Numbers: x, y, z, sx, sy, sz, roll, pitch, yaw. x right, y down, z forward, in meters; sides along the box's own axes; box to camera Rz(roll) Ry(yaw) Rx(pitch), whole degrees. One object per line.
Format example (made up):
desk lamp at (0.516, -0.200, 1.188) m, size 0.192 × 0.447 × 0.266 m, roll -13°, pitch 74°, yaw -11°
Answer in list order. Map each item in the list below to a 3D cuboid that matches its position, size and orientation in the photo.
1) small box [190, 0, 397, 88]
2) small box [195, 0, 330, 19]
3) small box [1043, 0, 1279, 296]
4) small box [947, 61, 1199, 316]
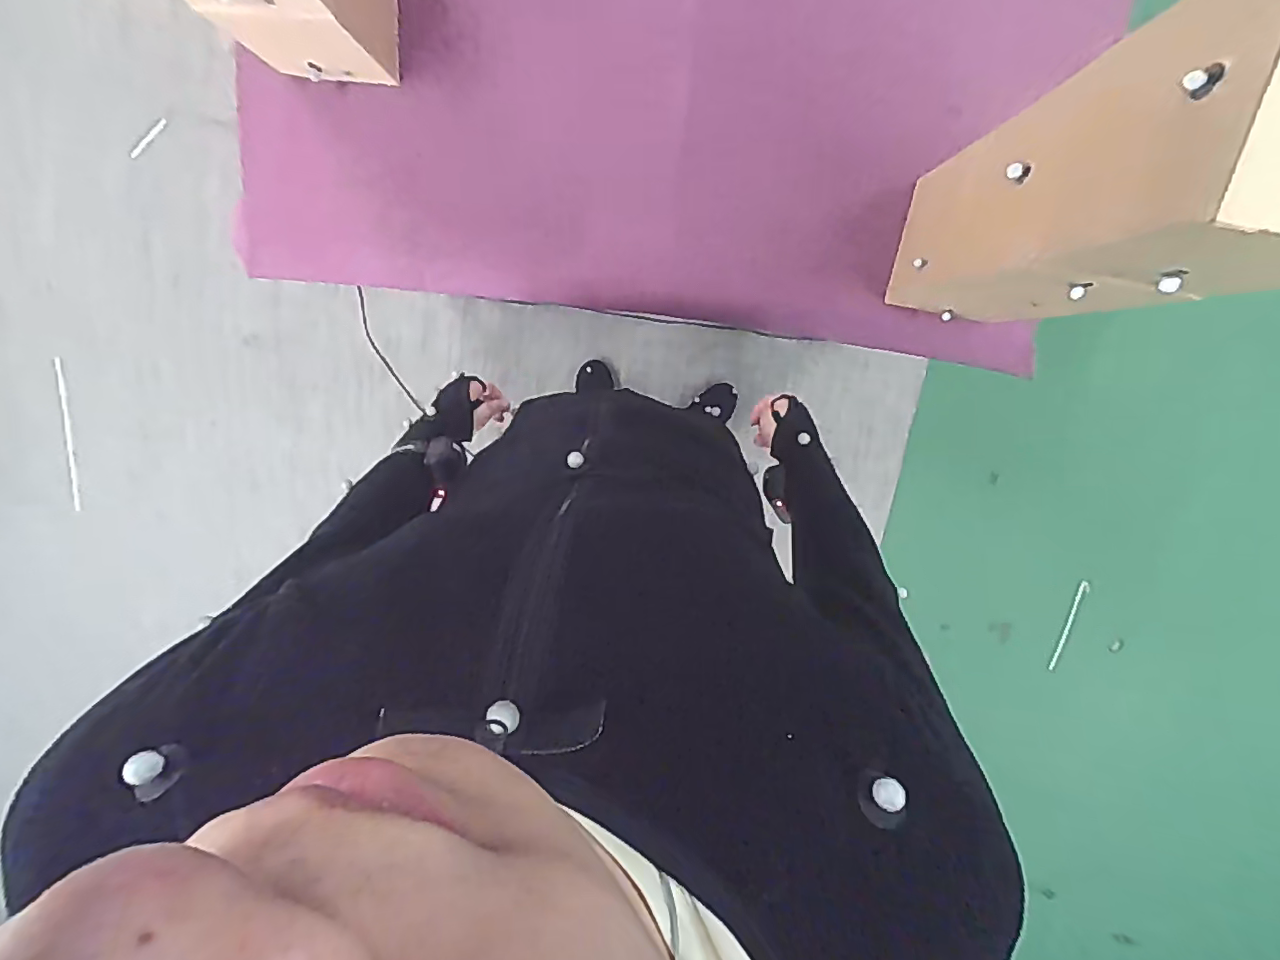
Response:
small box at (-0.418, -0.628, 0.668) m, size 0.168 × 0.176 × 0.179 m, roll 5°, pitch 104°, yaw 0°
small box at (-0.421, -0.591, 0.509) m, size 0.168 × 0.176 × 0.179 m, roll 5°, pitch 104°, yaw 1°
small box at (0.453, -0.248, 0.402) m, size 0.168 × 0.176 × 0.179 m, roll 10°, pitch 103°, yaw 0°
small box at (0.458, -0.281, 0.563) m, size 0.168 × 0.176 × 0.179 m, roll 11°, pitch 102°, yaw 0°
